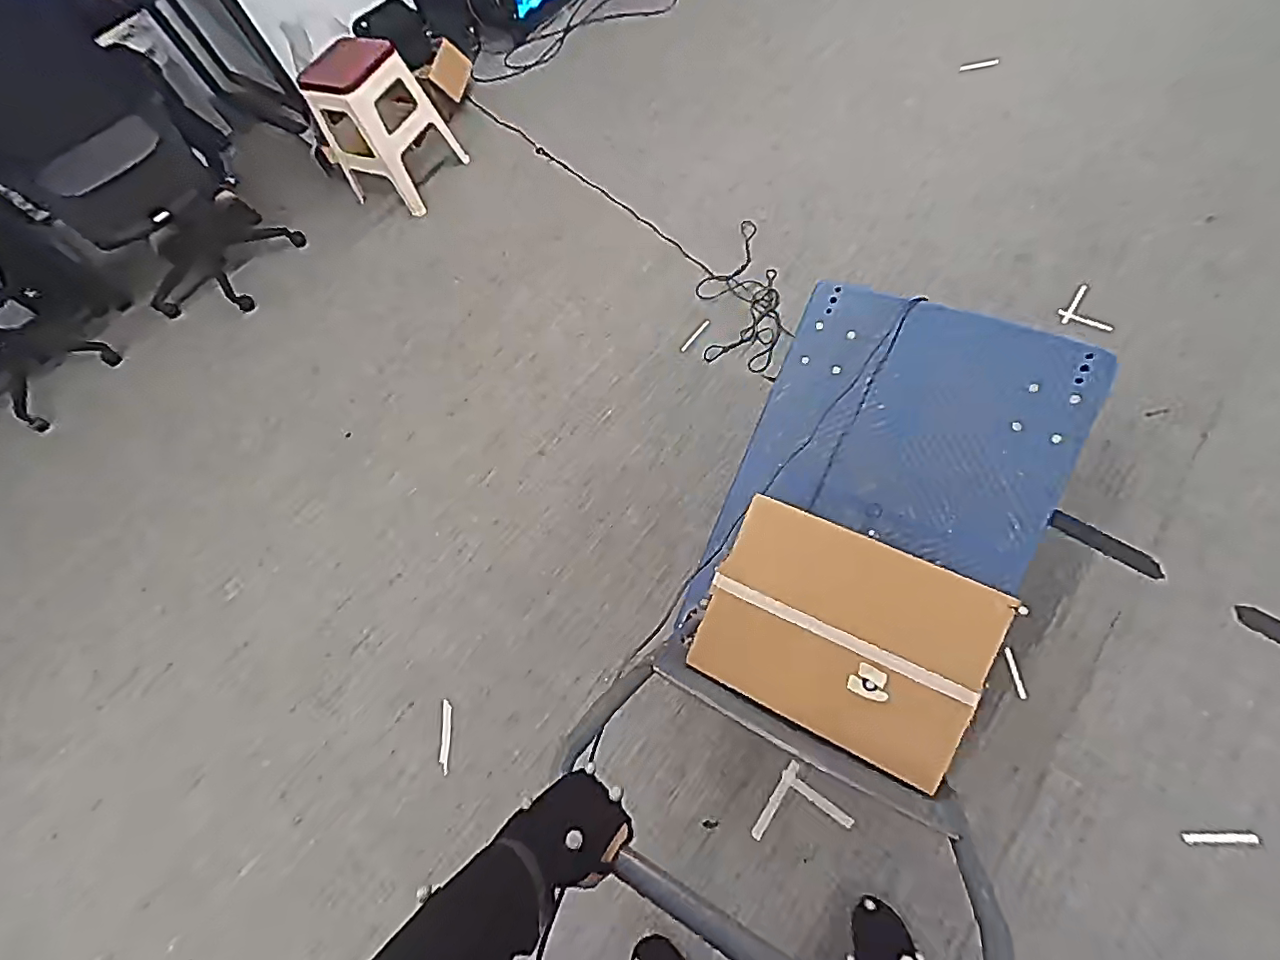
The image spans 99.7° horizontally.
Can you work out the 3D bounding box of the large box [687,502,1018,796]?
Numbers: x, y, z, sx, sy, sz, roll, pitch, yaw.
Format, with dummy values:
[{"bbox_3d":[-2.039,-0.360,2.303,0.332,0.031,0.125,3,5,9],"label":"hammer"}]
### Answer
[{"bbox_3d":[0.348,0.255,0.968,0.408,0.320,0.320,23,94,18],"label":"large box"}]
